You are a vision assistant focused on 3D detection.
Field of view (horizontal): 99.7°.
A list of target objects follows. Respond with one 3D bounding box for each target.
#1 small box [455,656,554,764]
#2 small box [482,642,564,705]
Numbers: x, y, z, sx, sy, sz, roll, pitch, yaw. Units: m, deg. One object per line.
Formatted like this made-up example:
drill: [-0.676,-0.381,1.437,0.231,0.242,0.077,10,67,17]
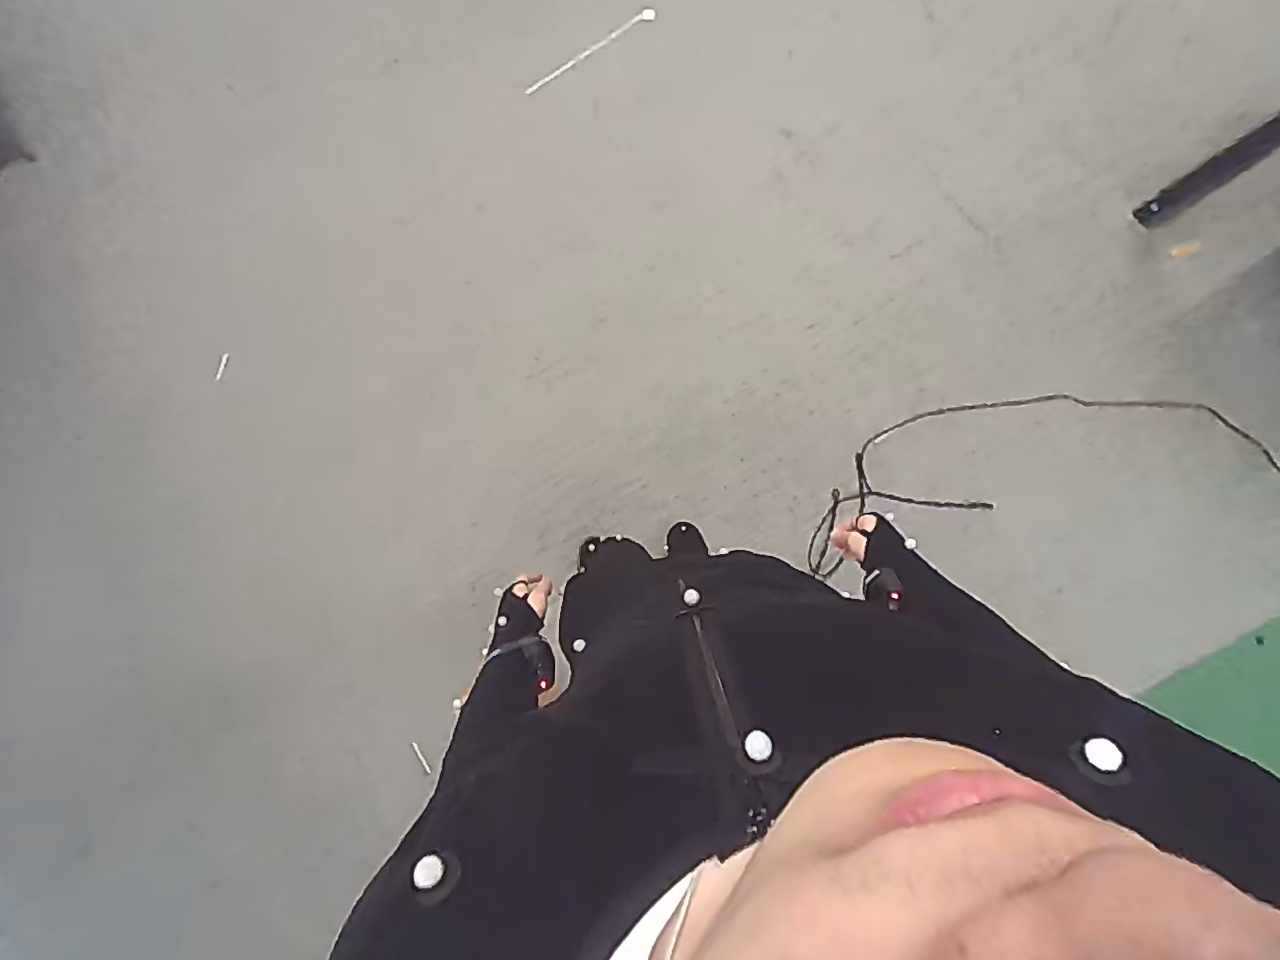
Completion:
small box: [-0.343,0.590,1.409,0.168,0.176,0.179,-28,85,3]
small box: [-0.339,0.602,1.572,0.168,0.176,0.179,-30,87,3]
